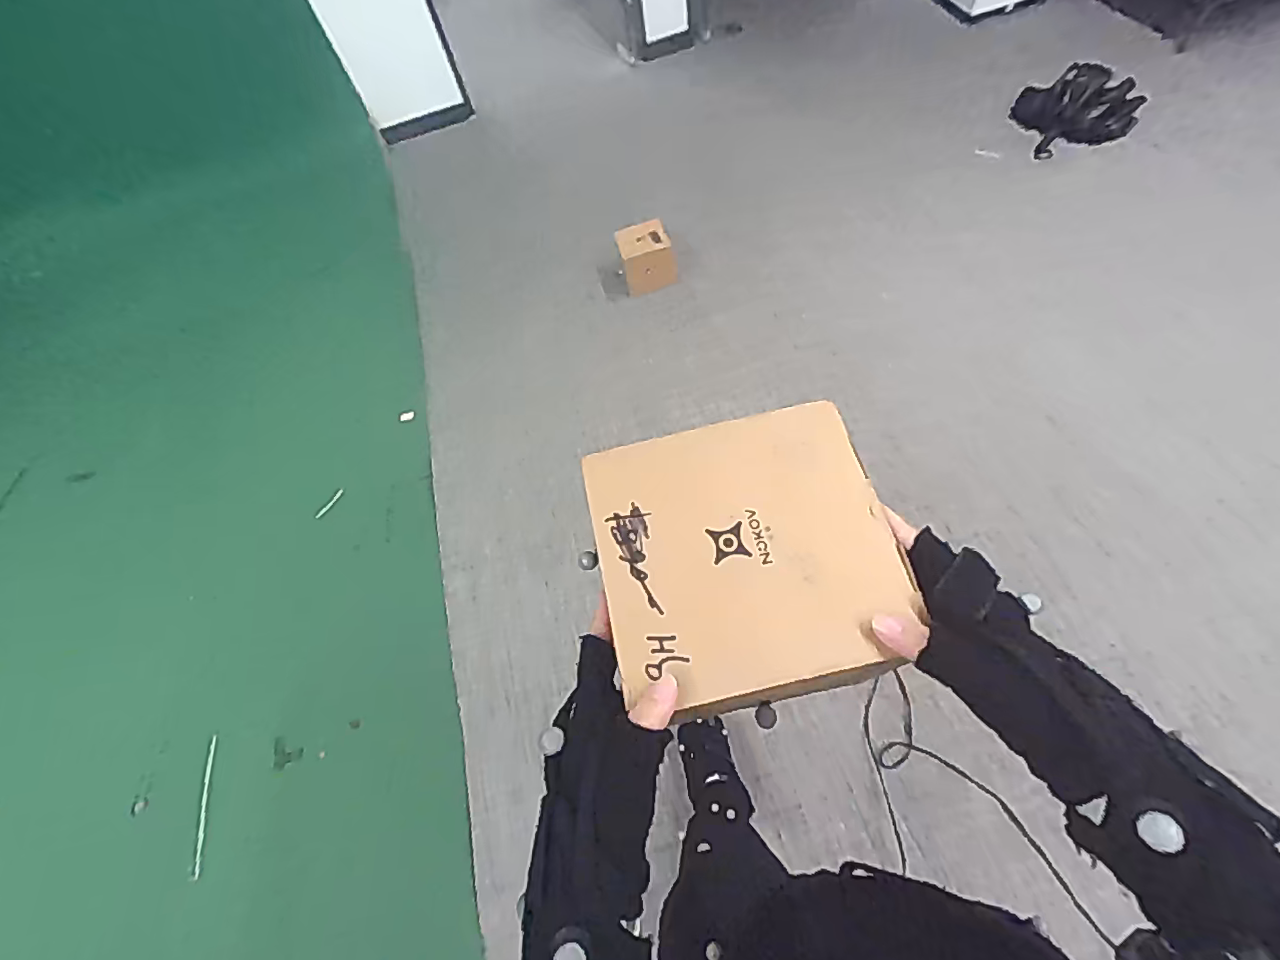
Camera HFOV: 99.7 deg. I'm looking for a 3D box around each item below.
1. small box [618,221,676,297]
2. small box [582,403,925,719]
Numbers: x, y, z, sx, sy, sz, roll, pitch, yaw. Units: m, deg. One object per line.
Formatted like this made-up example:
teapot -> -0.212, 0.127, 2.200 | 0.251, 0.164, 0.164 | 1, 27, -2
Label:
small box -> 0.029, -0.798, 1.962 | 0.179, 0.176, 0.168 | -14, 58, 2
small box -> 0.065, 0.071, 0.401 | 0.179, 0.176, 0.168 | -12, 62, -1
